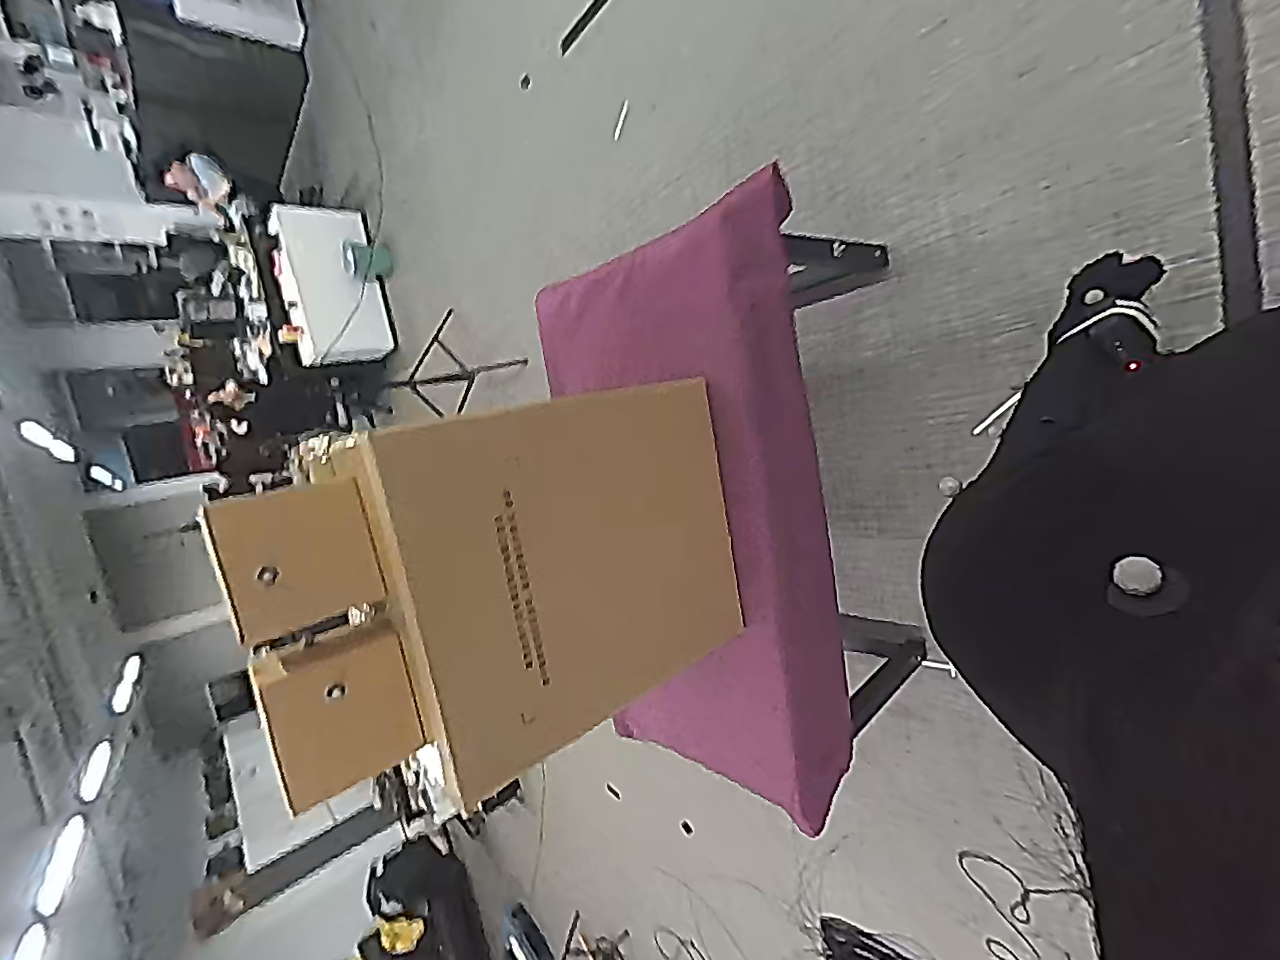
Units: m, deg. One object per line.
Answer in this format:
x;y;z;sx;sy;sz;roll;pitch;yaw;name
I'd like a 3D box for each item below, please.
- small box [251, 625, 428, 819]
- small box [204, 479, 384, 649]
-0.426;0.323;0.770;0.168;0.176;0.179;-7;97;51;small box
-0.476;0.106;0.750;0.168;0.176;0.179;-7;97;50;small box
